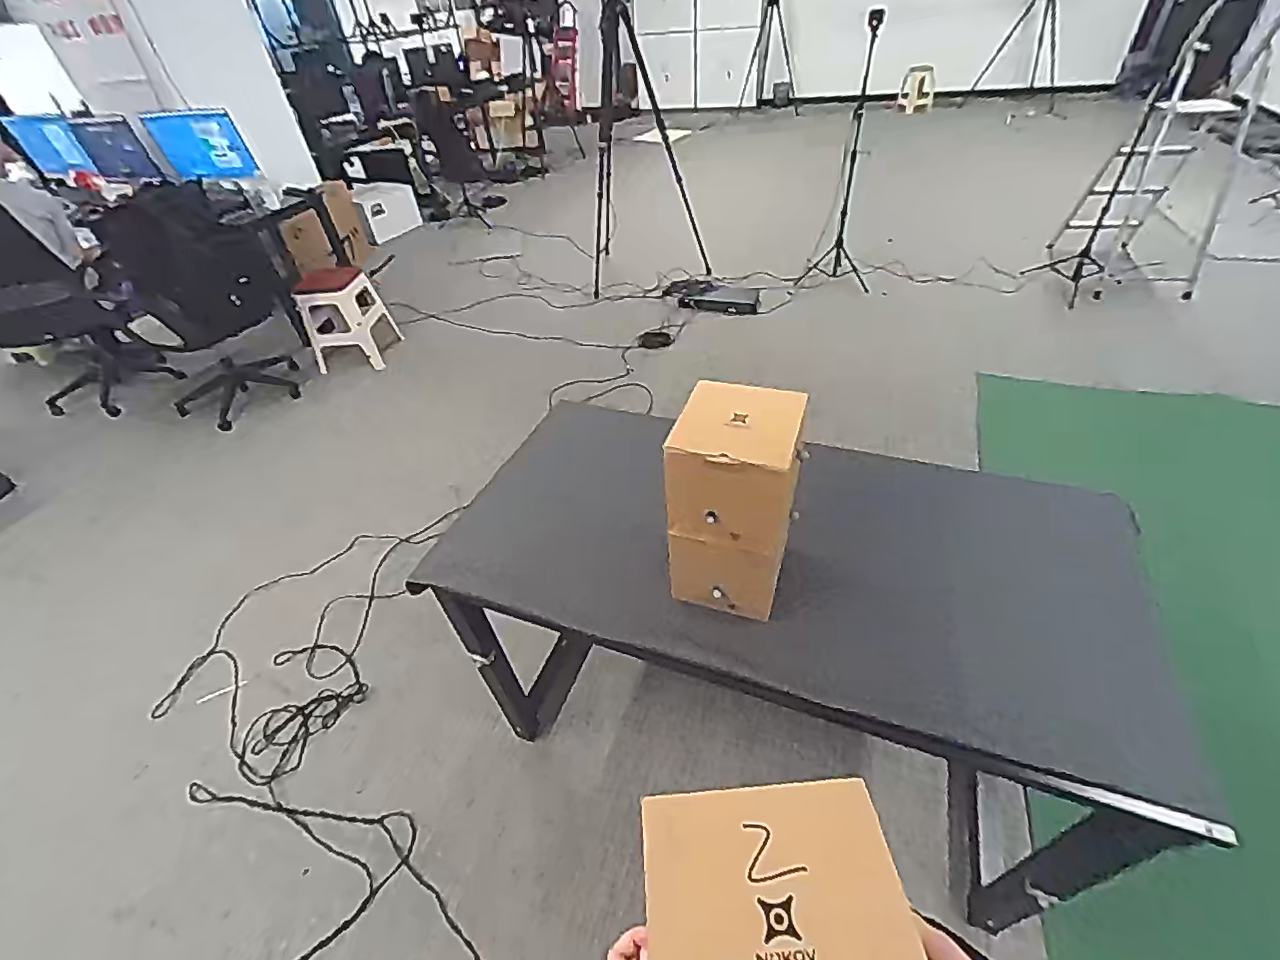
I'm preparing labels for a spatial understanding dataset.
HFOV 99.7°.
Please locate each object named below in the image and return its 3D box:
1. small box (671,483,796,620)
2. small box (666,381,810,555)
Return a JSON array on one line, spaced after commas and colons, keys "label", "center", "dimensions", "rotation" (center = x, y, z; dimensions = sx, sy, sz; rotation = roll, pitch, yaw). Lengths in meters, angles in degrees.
[{"label": "small box", "center": [0.156, 0.100, 0.902], "dimensions": [0.168, 0.176, 0.179], "rotation": [10, 44, 19]}, {"label": "small box", "center": [0.143, -0.021, 0.795], "dimensions": [0.168, 0.176, 0.179], "rotation": [11, 44, 18]}]
